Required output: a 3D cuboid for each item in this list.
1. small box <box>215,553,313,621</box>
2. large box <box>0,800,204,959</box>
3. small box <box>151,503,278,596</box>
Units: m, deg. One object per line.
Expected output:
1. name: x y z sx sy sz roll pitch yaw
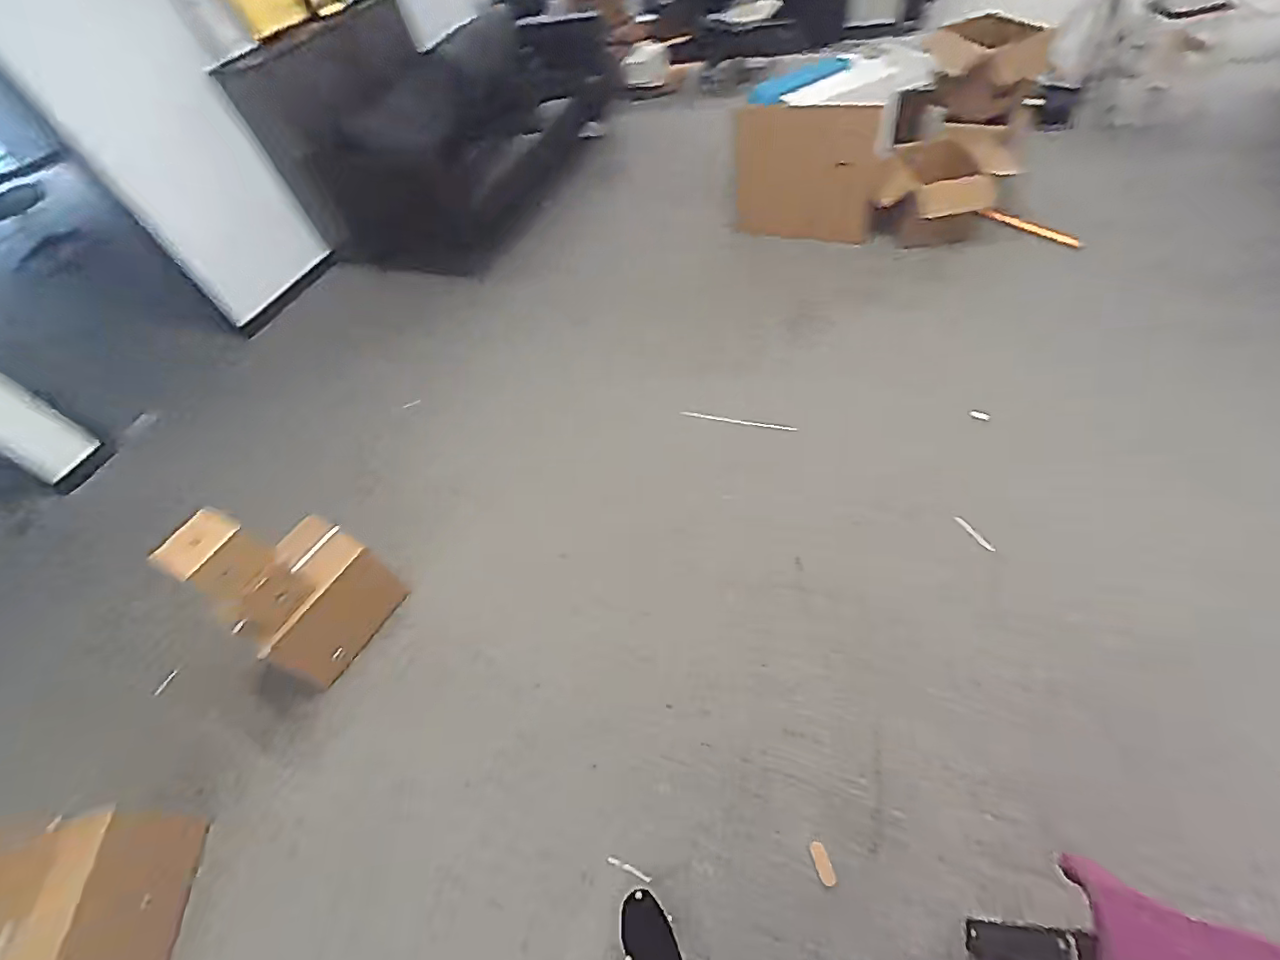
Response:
1. small box: -1.114 0.293 1.587 0.179 0.176 0.168 19 59 23
2. large box: -1.410 1.079 1.358 0.320 0.320 0.408 -14 52 2
3. small box: -1.138 0.193 1.461 0.179 0.176 0.168 18 59 24
